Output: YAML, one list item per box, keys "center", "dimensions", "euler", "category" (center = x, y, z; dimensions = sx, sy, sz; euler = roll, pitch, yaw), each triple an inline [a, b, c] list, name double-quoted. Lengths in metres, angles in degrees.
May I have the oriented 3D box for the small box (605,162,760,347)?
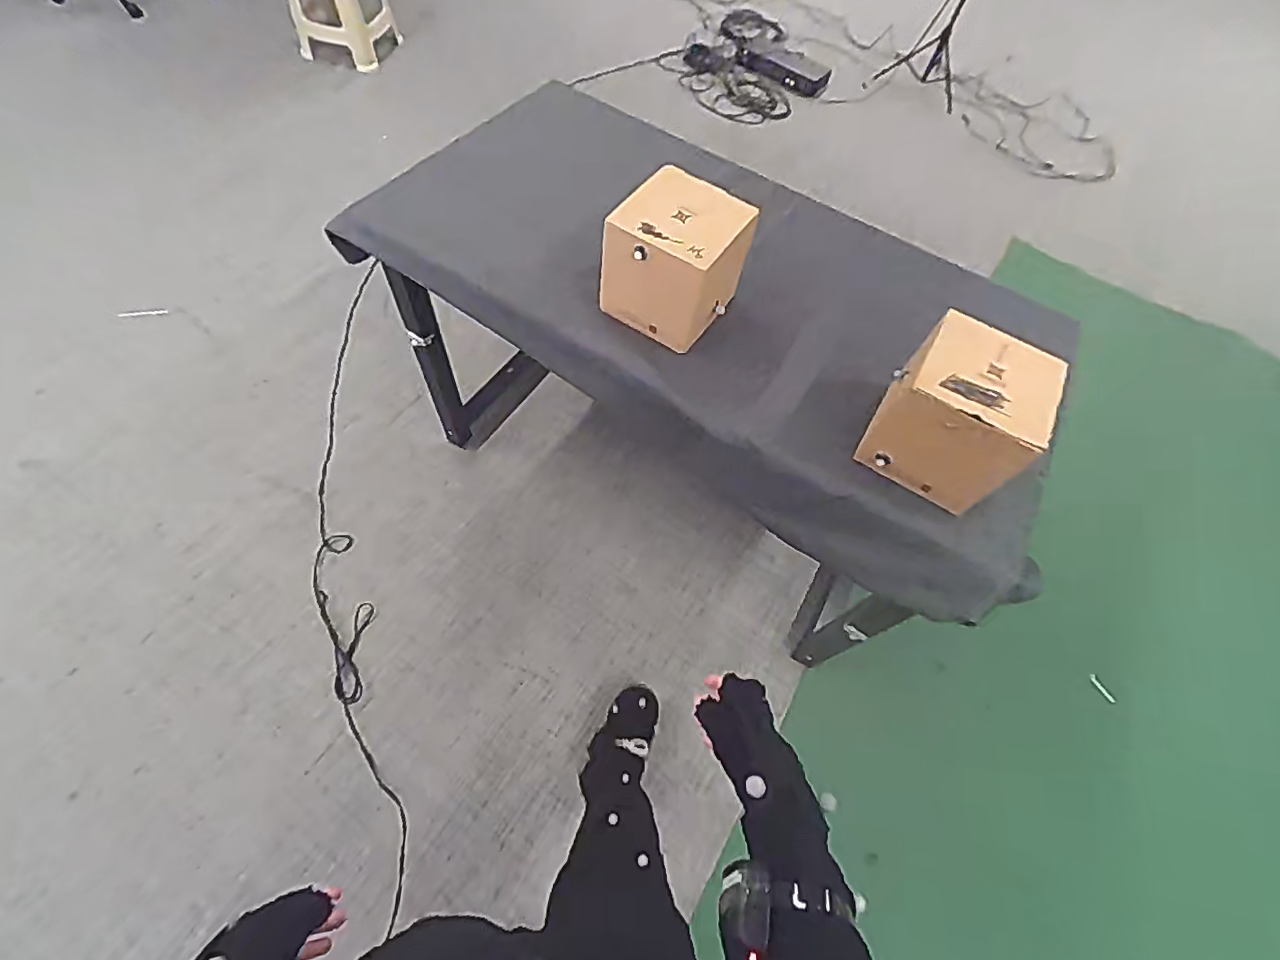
- center: [0.057, -0.345, 0.839]
  dimensions: [0.168, 0.176, 0.179]
  euler: [31, 62, 10]
  category: "small box"

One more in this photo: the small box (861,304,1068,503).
- center: [0.434, -0.098, 0.747]
  dimensions: [0.168, 0.176, 0.179]
  euler: [31, 61, 11]
  category: "small box"
